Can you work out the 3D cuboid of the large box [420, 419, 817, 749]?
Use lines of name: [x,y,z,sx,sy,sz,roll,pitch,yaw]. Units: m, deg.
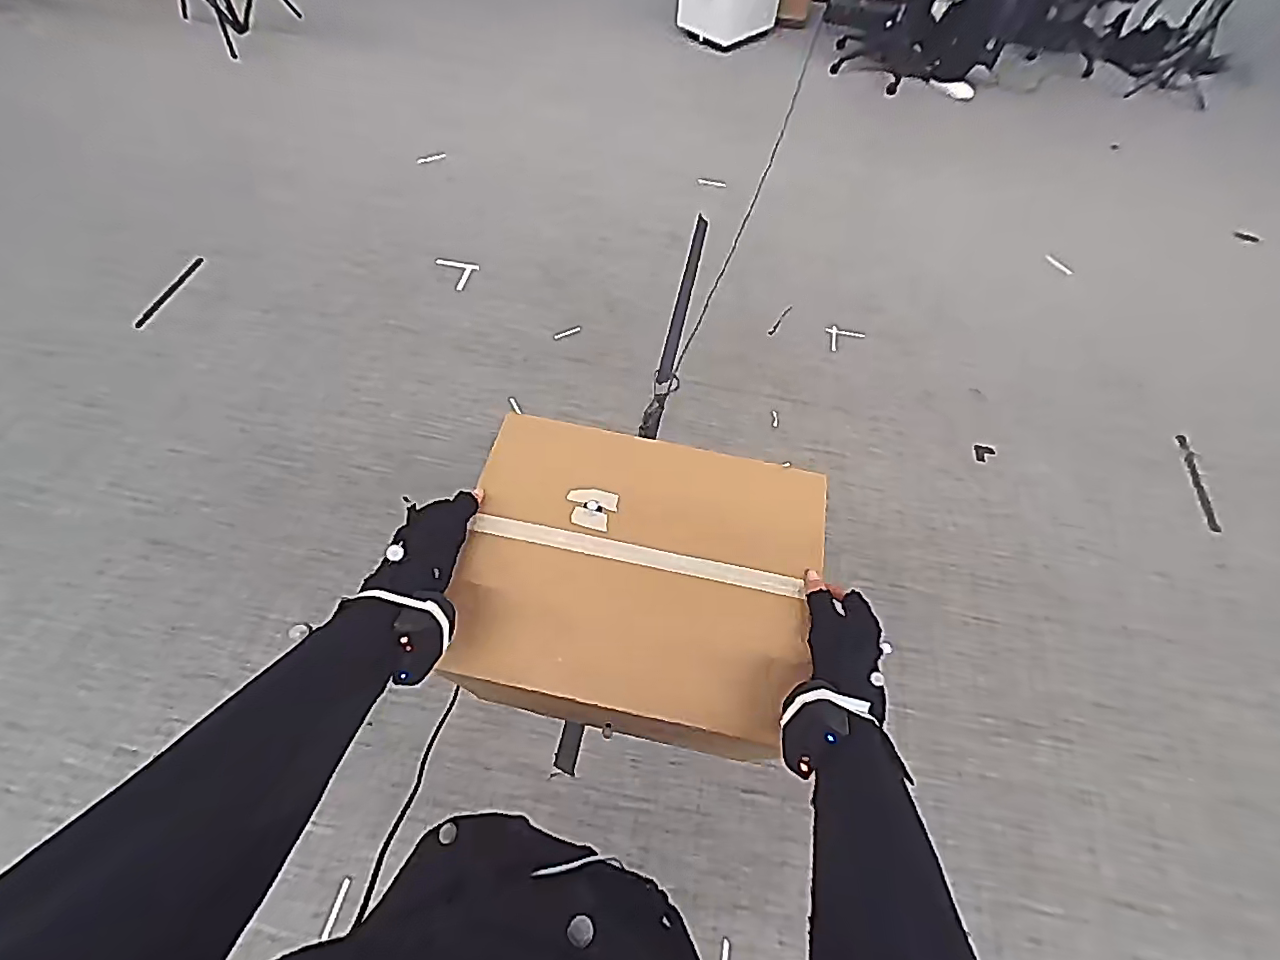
large box: [-0.006,0.158,0.739,0.408,0.320,0.320,12,61,4]
